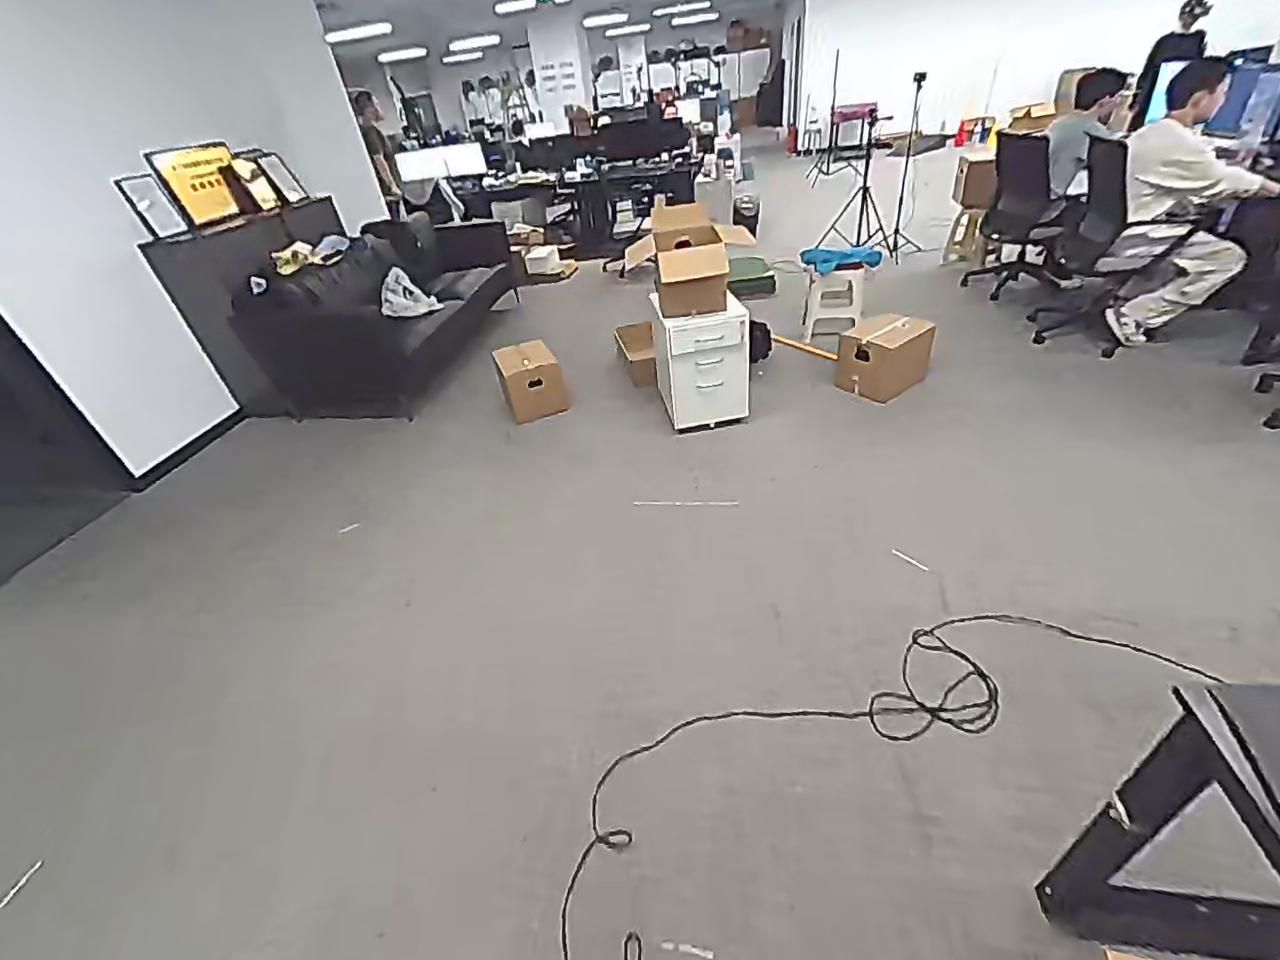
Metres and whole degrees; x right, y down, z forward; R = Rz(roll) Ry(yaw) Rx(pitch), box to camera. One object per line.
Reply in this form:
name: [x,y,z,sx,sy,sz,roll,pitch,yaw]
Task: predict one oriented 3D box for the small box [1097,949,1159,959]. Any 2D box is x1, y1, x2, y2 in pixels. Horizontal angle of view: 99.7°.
small box: [0.914,0.962,0.937,0.179,0.176,0.168,3,37,14]
